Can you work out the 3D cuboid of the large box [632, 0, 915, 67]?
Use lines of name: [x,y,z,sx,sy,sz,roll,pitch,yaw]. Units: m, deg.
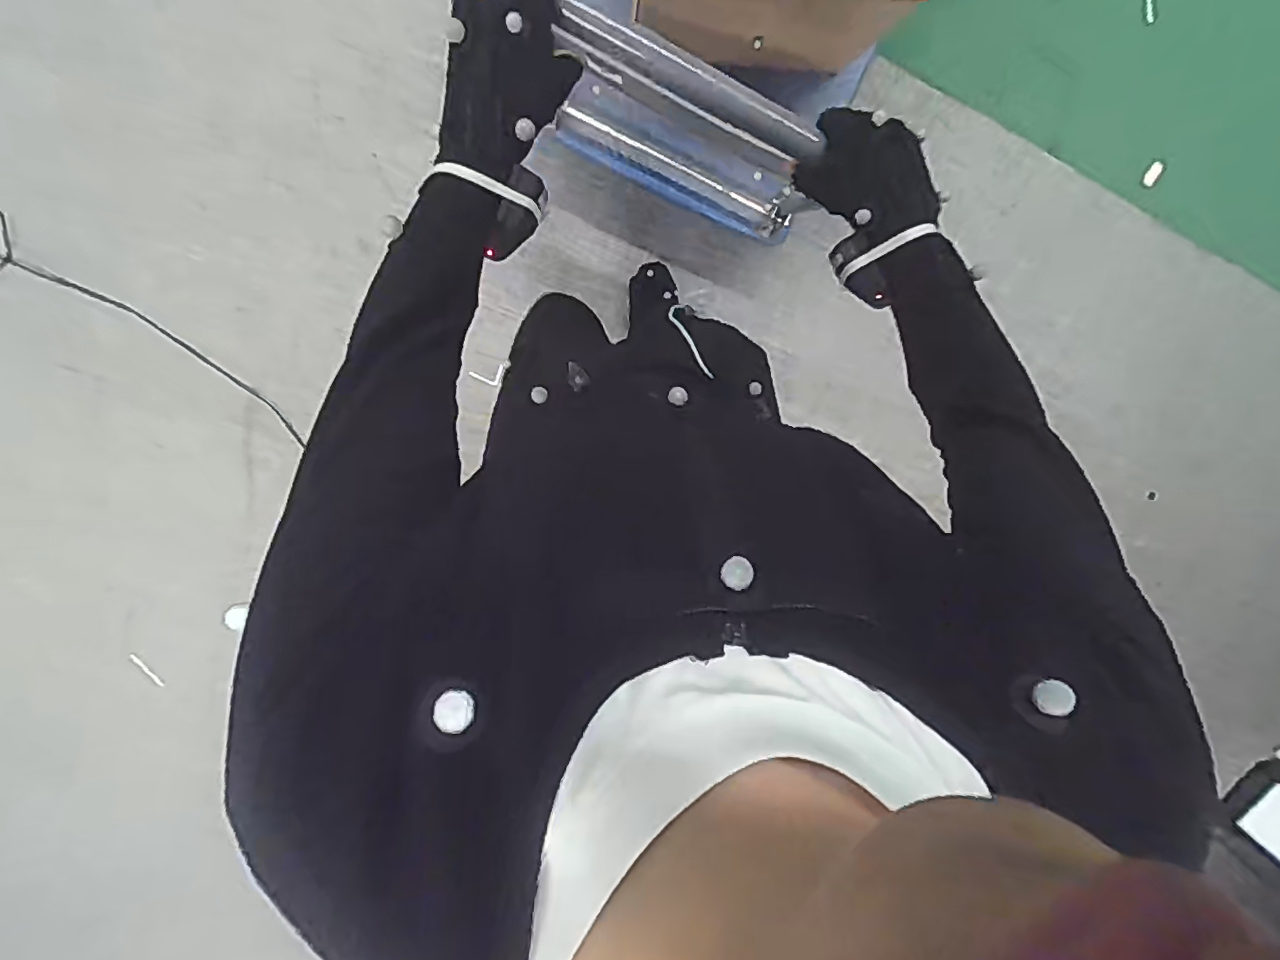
large box: [0.200,-0.881,0.834,0.408,0.320,0.320,3,111,-4]
